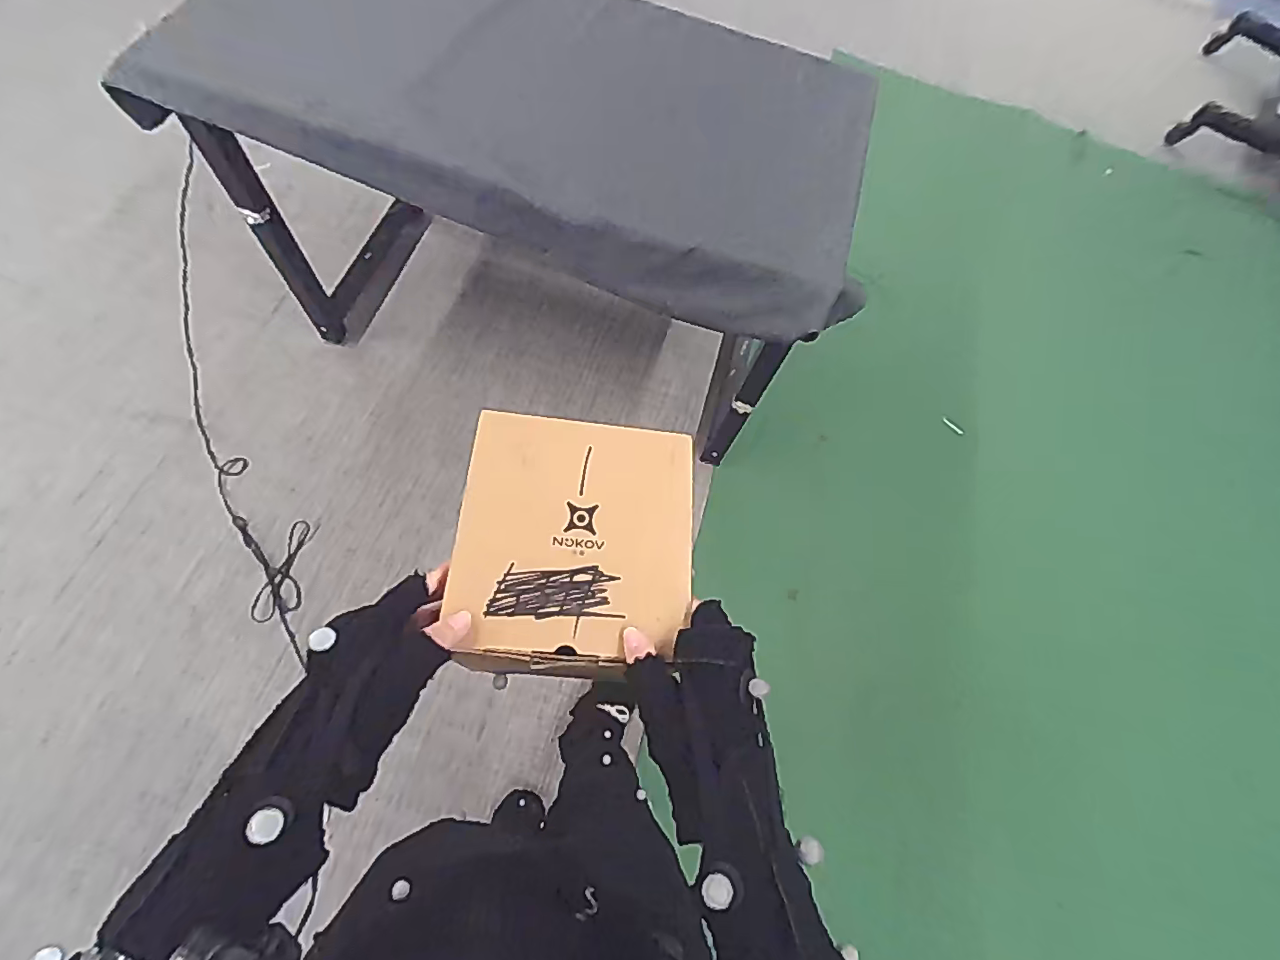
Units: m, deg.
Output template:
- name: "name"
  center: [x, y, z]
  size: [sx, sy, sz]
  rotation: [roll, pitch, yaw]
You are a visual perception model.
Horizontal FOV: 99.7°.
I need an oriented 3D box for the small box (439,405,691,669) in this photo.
- name: "small box"
  center: [-0.056, 0.061, 0.460]
  size: [0.168, 0.176, 0.179]
  rotation: [6, 65, -7]
